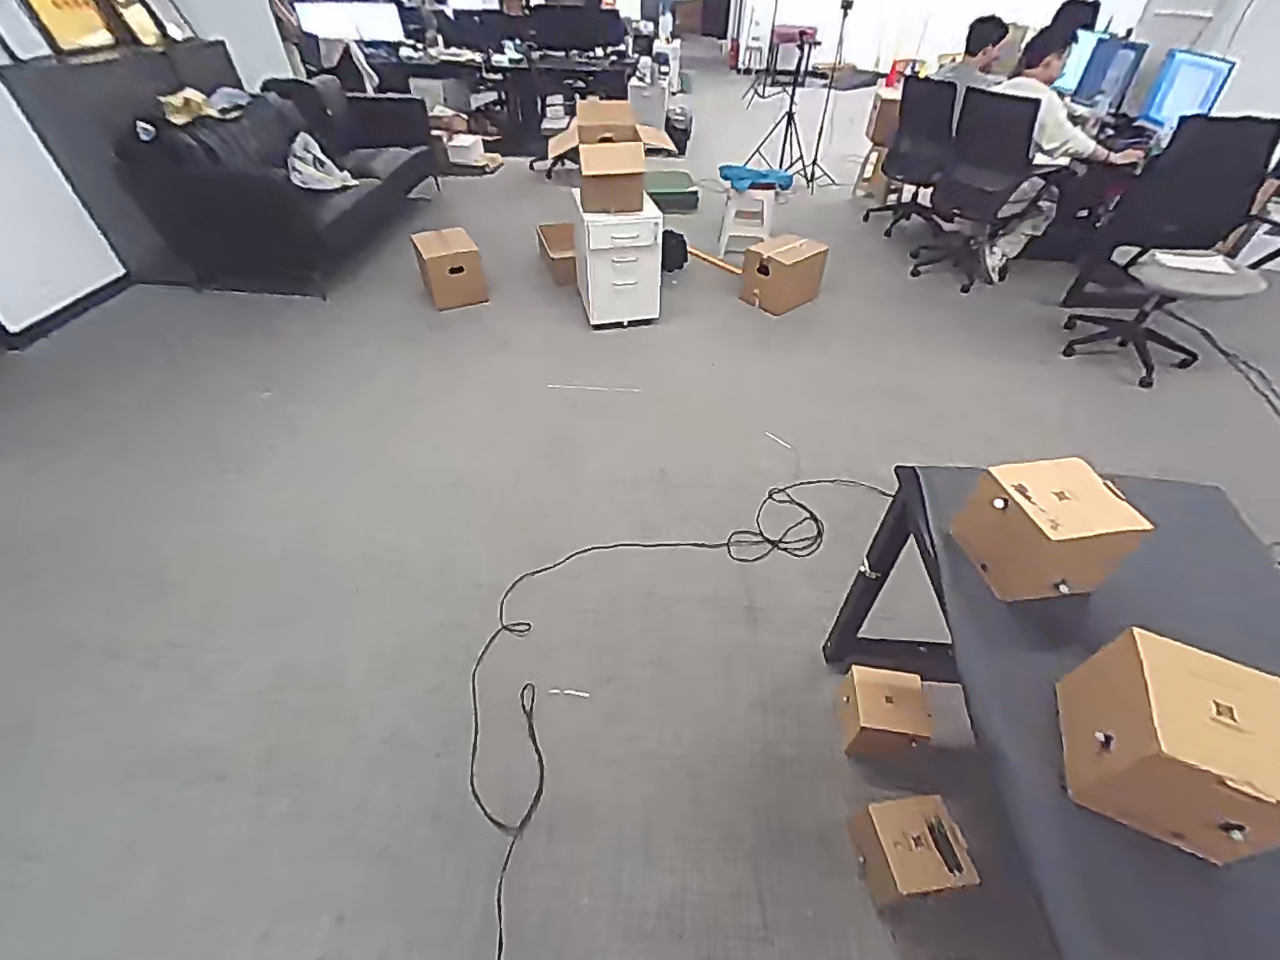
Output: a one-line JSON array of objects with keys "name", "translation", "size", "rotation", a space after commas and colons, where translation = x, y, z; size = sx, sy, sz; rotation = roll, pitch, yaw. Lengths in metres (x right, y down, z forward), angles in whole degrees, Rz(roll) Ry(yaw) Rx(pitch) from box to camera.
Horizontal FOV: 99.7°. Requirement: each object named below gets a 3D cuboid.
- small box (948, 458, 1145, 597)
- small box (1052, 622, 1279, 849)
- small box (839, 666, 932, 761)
[{"name": "small box", "translation": [0.679, 0.082, 0.930], "size": [0.179, 0.176, 0.168], "rotation": [-5, 43, -6]}, {"name": "small box", "translation": [0.658, 0.320, 0.677], "size": [0.168, 0.176, 0.179], "rotation": [20, 45, 15]}, {"name": "small box", "translation": [0.634, 0.618, 1.427], "size": [0.179, 0.176, 0.168], "rotation": [7, 43, 6]}]
